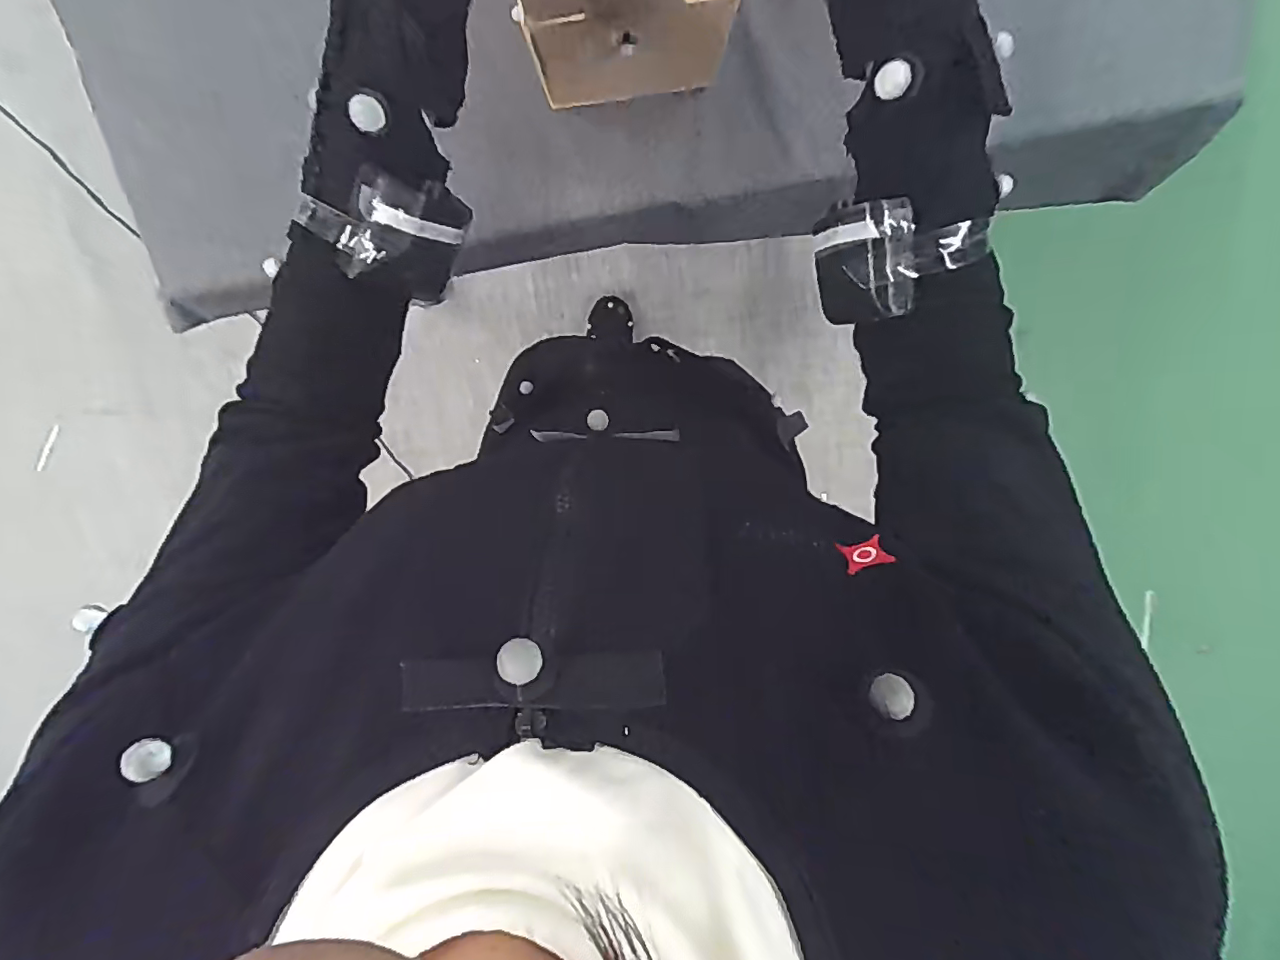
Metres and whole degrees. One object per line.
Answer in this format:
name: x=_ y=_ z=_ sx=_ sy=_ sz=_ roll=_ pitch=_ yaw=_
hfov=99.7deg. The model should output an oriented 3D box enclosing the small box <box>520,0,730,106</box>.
small box: x=-0.019 y=-0.471 z=0.491 sx=0.179 sy=0.176 sz=0.168 roll=-8 pitch=105 yaw=1
